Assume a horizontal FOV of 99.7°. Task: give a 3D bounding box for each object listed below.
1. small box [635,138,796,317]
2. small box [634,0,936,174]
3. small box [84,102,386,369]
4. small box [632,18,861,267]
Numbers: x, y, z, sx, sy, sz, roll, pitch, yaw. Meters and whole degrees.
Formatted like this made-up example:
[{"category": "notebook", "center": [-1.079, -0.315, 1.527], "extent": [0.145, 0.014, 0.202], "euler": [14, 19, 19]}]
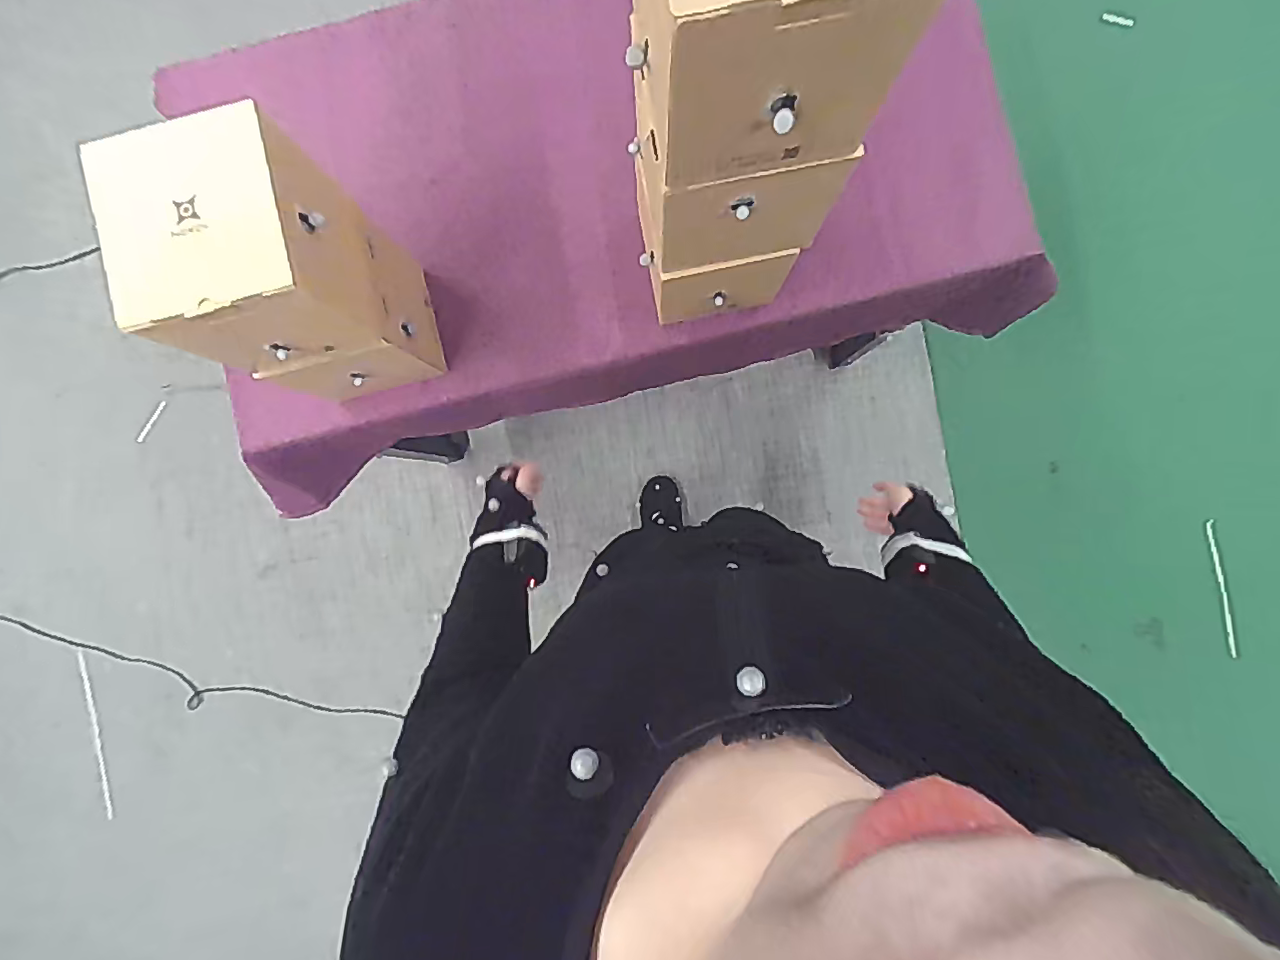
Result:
[{"category": "small box", "center": [0.090, -0.327, 0.709], "extent": [0.168, 0.176, 0.179], "euler": [-10, 88, 1]}, {"category": "small box", "center": [0.085, -0.346, 0.380], "extent": [0.168, 0.176, 0.179], "euler": [-10, 89, 1]}, {"category": "small box", "center": [-0.393, -0.232, 0.556], "extent": [0.168, 0.176, 0.179], "euler": [-14, 89, 1]}, {"category": "small box", "center": [0.093, -0.335, 0.544], "extent": [0.179, 0.176, 0.168], "euler": [-10, 89, 1]}]
